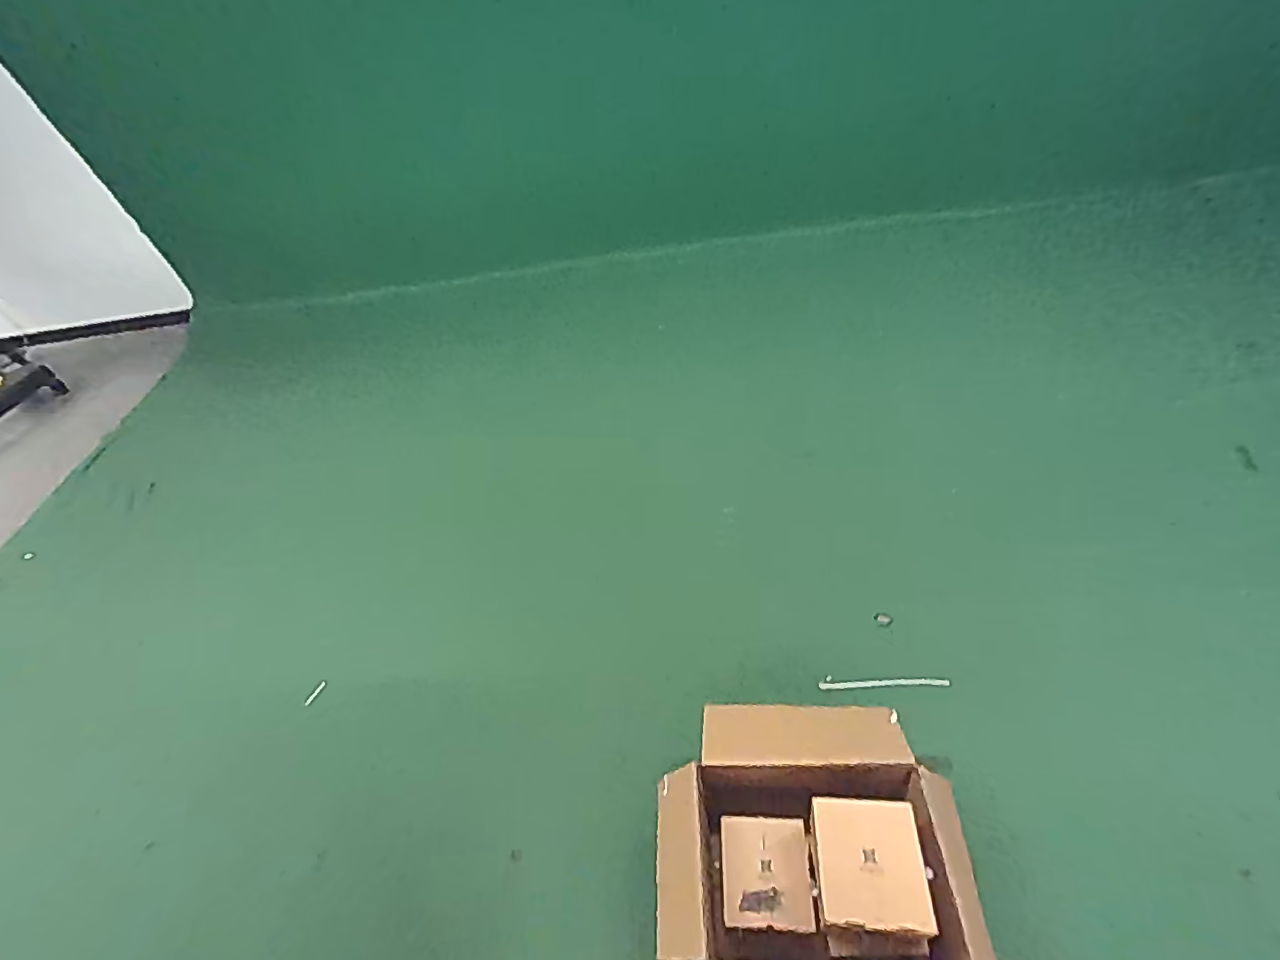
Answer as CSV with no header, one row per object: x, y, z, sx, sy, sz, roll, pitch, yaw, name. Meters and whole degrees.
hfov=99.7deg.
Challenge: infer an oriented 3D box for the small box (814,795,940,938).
0.400,0.676,0.947,0.168,0.176,0.179,-4,47,13,small box
